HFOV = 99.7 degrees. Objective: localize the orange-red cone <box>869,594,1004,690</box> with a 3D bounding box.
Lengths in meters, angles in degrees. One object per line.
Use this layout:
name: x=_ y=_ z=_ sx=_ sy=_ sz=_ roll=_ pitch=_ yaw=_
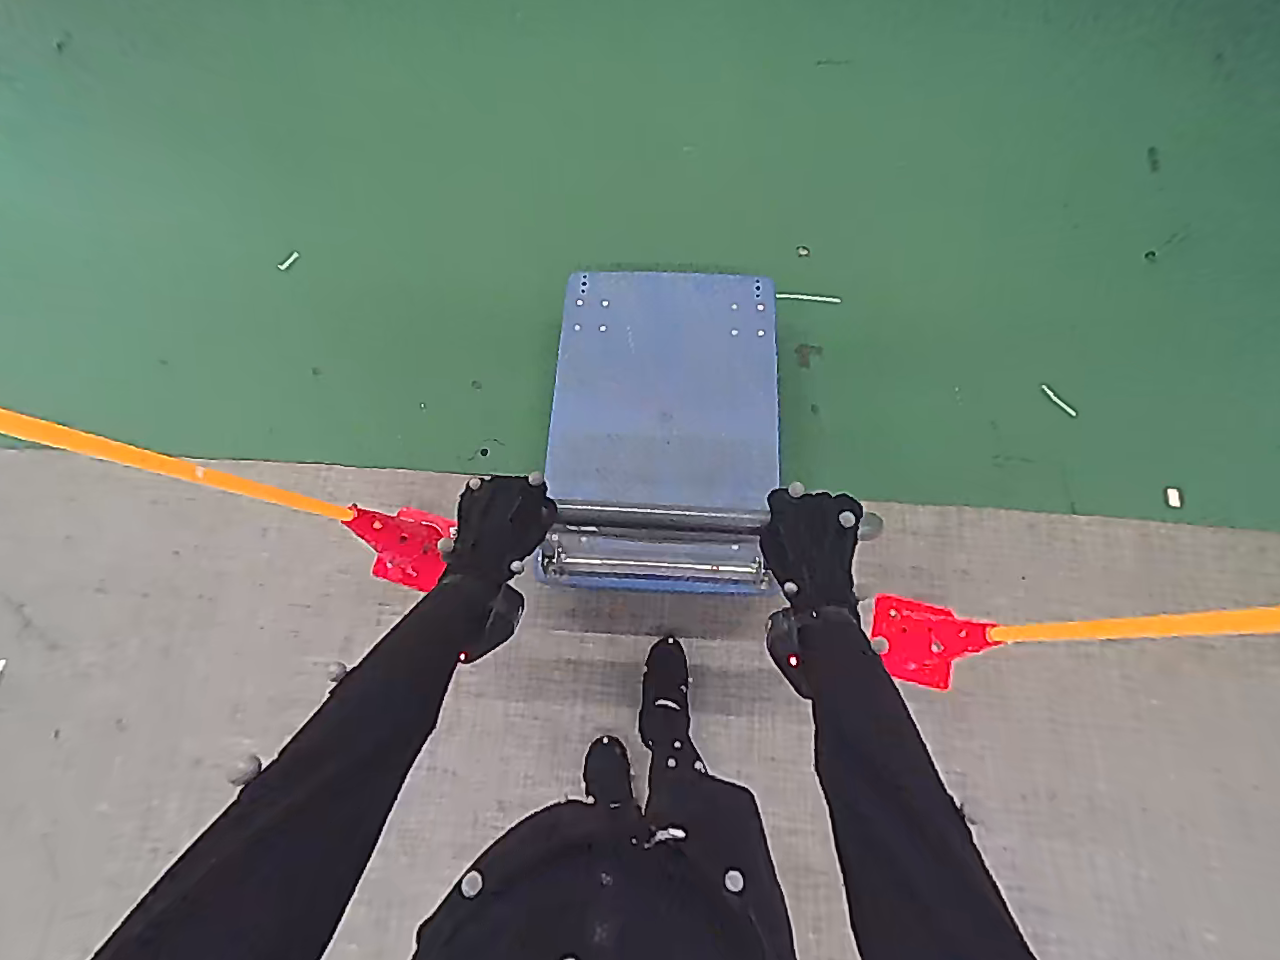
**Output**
orange-red cone: x=0.669 y=0.344 z=1.174 sx=0.198 sy=0.360 sz=0.199 roll=14 pitch=73 yaw=7
